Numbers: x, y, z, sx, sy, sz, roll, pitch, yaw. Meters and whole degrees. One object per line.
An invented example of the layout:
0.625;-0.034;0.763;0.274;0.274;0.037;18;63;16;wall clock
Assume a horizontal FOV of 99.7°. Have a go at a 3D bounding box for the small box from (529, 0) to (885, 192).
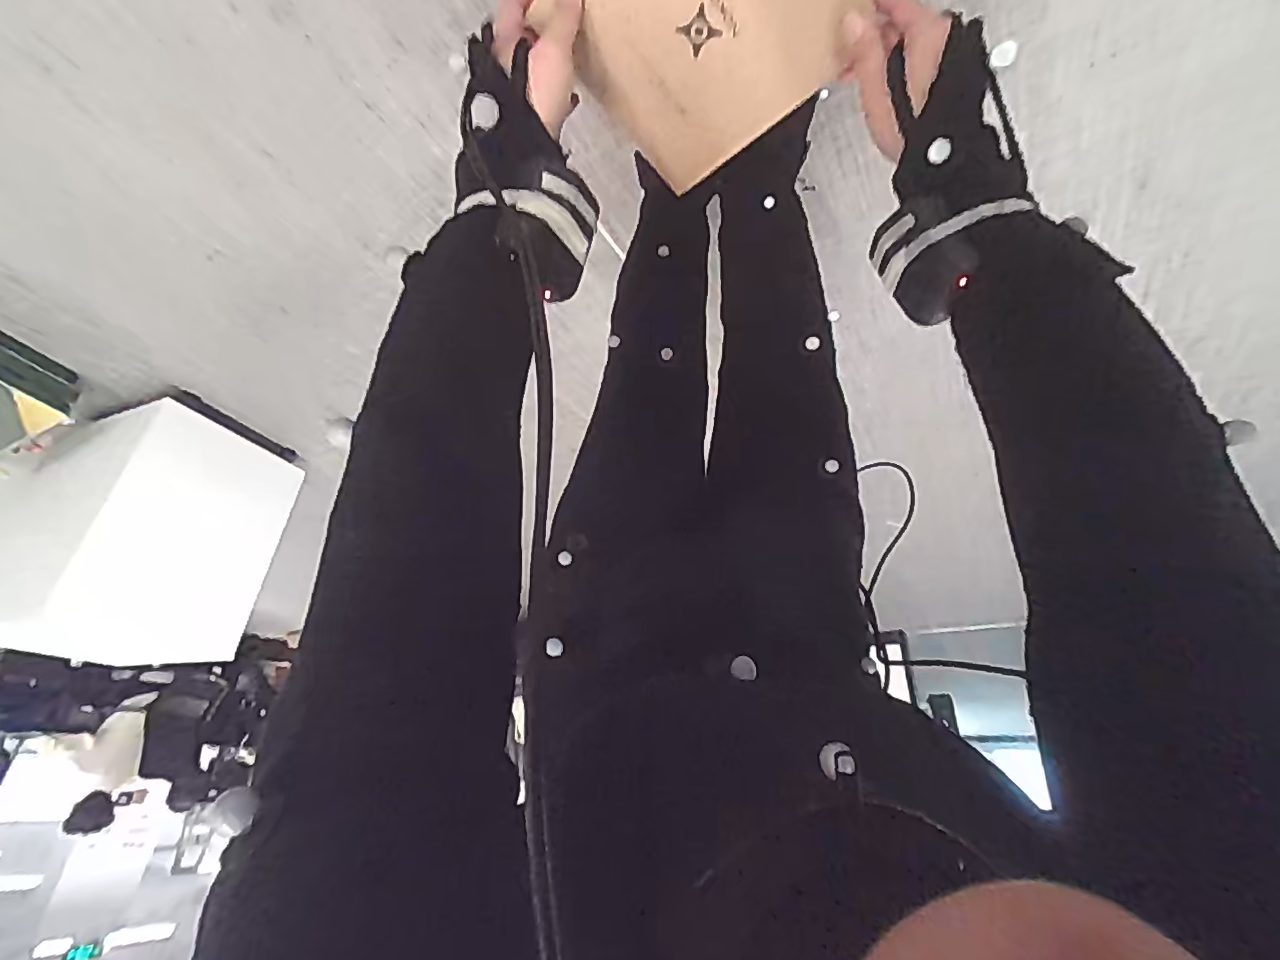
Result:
0.048;-0.366;0.389;0.179;0.176;0.168;-20;142;39;small box
